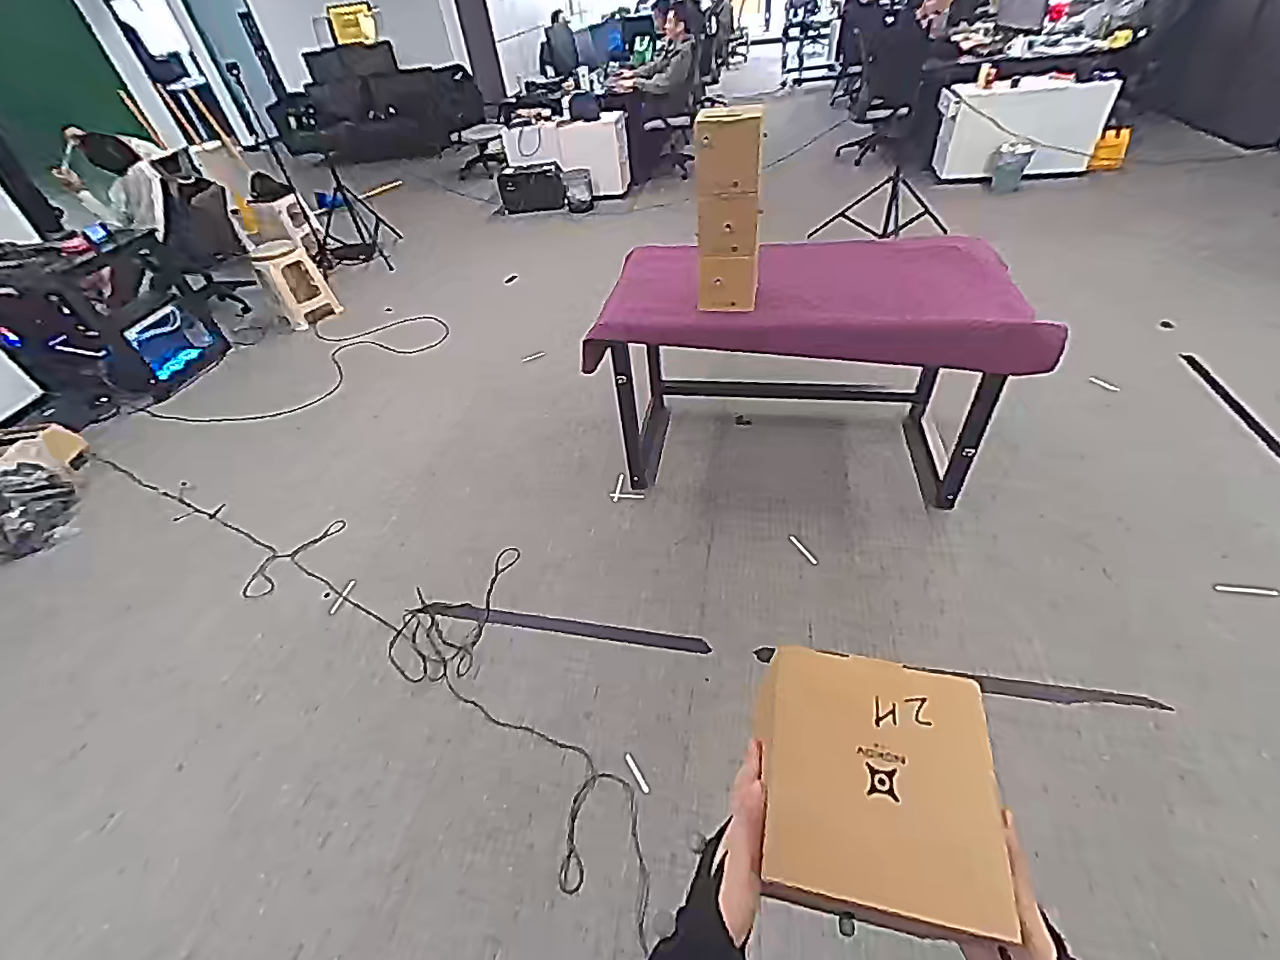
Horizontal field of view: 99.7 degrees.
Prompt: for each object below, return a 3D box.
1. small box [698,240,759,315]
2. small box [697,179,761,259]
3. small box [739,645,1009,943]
[{"bbox_3d":[0.272,-0.618,1.653,0.168,0.176,0.179,5,44,13],"label":"small box"},{"bbox_3d":[0.256,-0.742,1.546,0.168,0.176,0.179,3,44,11],"label":"small box"},{"bbox_3d":[0.185,0.276,0.480,0.168,0.176,0.179,9,51,8],"label":"small box"}]
